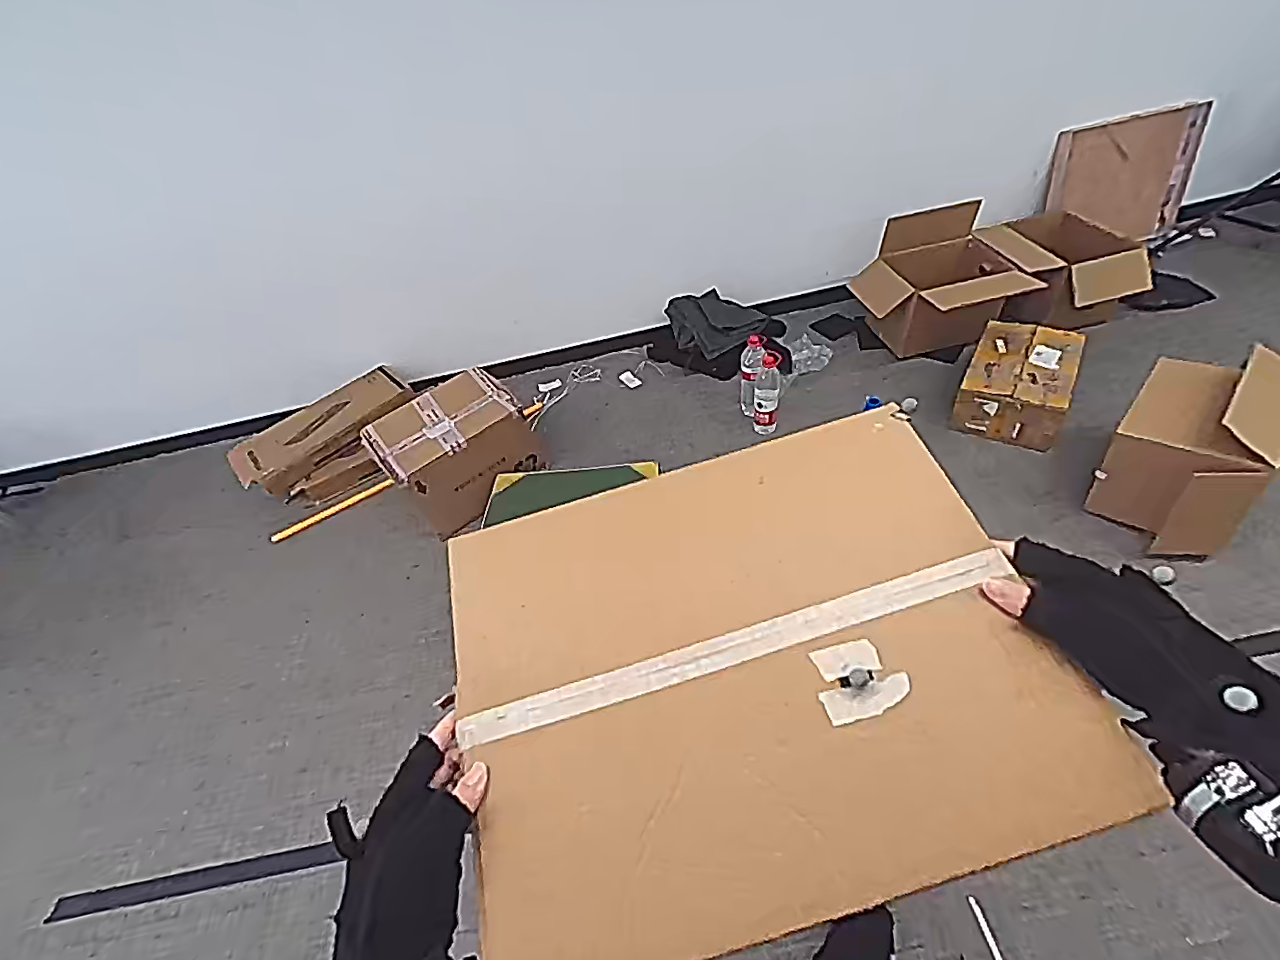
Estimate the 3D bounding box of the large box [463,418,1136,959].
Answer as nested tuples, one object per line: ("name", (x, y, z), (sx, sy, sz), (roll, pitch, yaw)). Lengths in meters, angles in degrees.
("large box", (0.093, 0.203, 0.524), (0.408, 0.320, 0.320), (-18, 58, -2))
